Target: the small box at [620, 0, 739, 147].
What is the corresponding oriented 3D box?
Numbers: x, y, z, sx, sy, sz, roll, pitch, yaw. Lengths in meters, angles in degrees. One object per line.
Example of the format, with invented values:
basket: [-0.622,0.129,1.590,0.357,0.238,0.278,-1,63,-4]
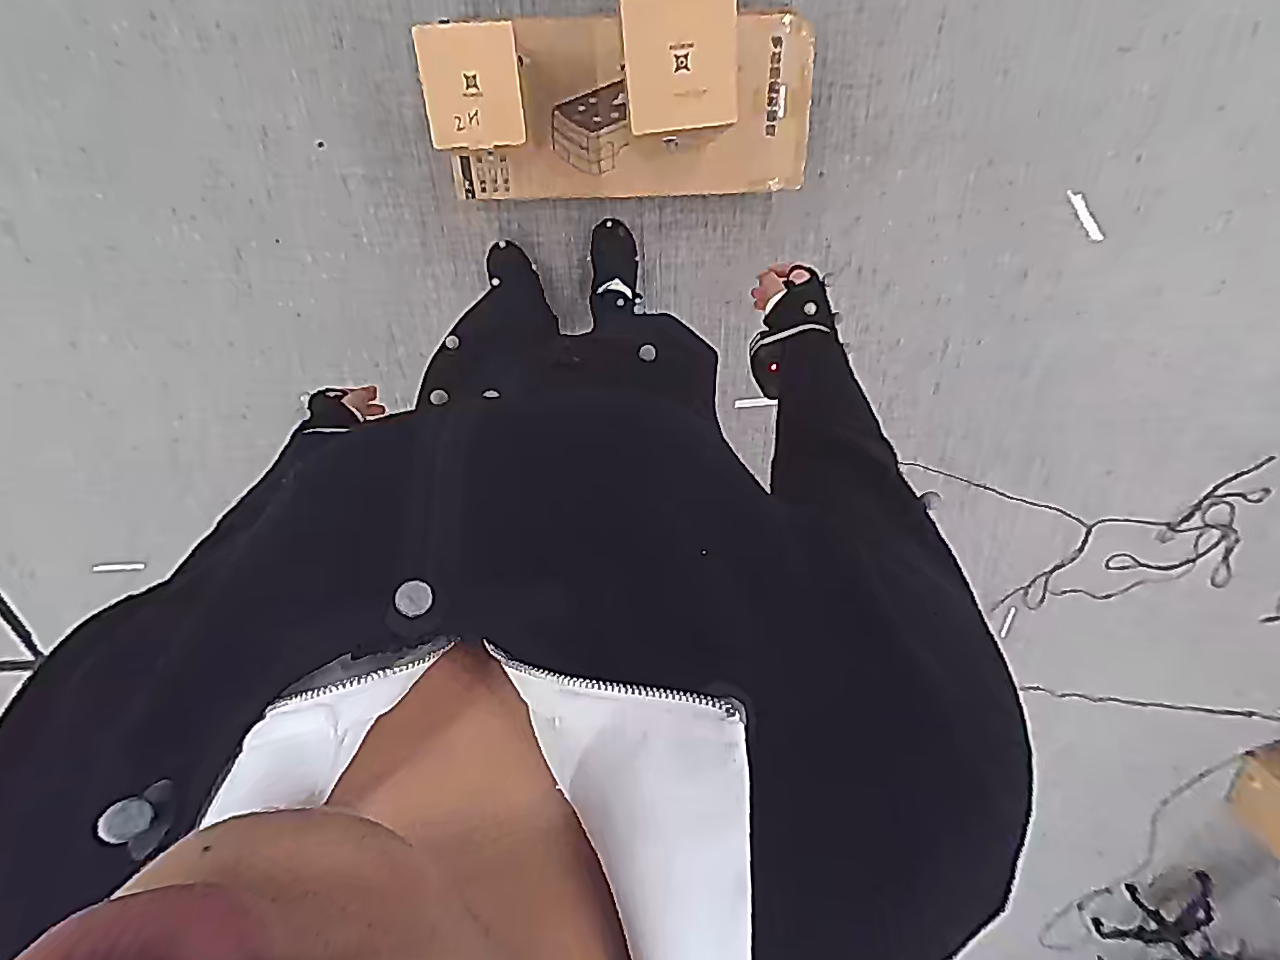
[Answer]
small box: [0.058,-0.646,0.860,0.168,0.176,0.179,-7,118,1]
